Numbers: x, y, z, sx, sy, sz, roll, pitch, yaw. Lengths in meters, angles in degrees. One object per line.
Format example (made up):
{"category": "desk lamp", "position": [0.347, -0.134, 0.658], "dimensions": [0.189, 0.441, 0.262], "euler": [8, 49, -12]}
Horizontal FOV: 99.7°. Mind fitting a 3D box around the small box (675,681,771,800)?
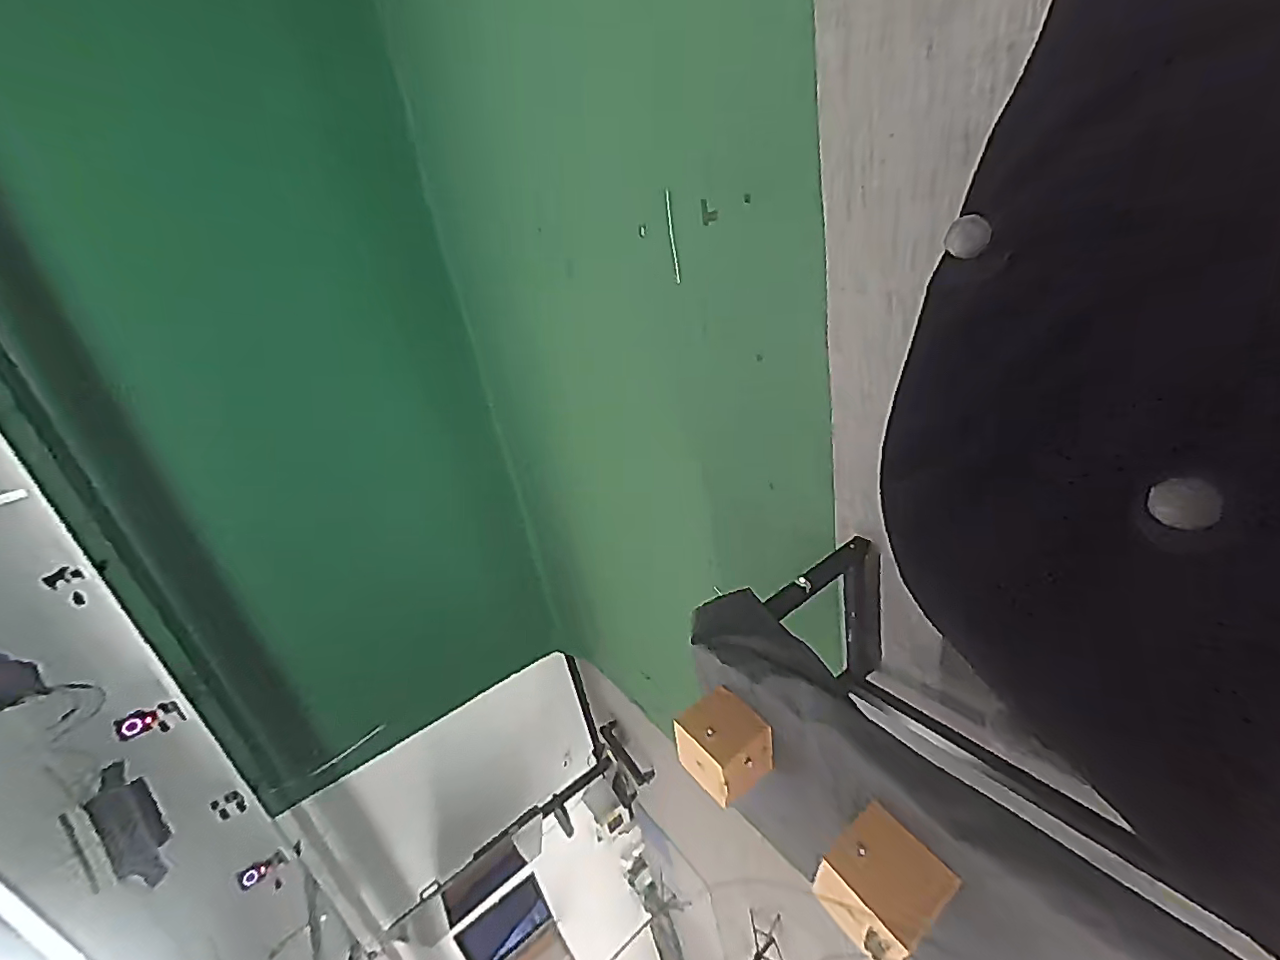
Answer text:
{"category": "small box", "position": [0.213, 0.645, 1.361], "dimensions": [0.179, 0.176, 0.168], "euler": [29, 134, 48]}
